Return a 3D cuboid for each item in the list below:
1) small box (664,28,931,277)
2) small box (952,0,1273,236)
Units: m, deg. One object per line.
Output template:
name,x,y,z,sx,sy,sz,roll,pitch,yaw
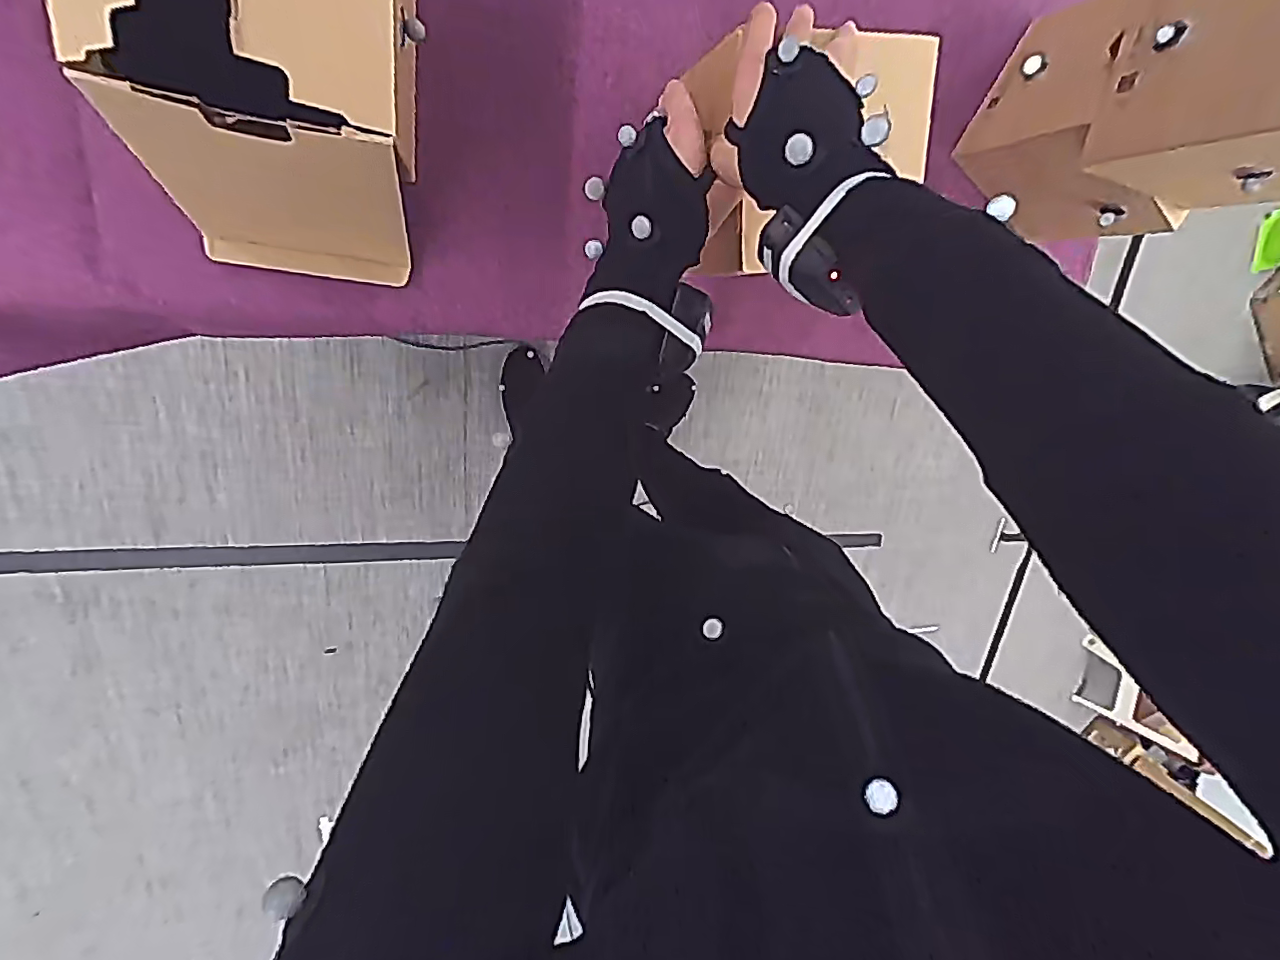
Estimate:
small box,0.126,-0.280,0.500,0.179,0.176,0.168,-10,113,-16
small box,0.490,-0.385,0.581,0.179,0.176,0.168,26,99,-25
